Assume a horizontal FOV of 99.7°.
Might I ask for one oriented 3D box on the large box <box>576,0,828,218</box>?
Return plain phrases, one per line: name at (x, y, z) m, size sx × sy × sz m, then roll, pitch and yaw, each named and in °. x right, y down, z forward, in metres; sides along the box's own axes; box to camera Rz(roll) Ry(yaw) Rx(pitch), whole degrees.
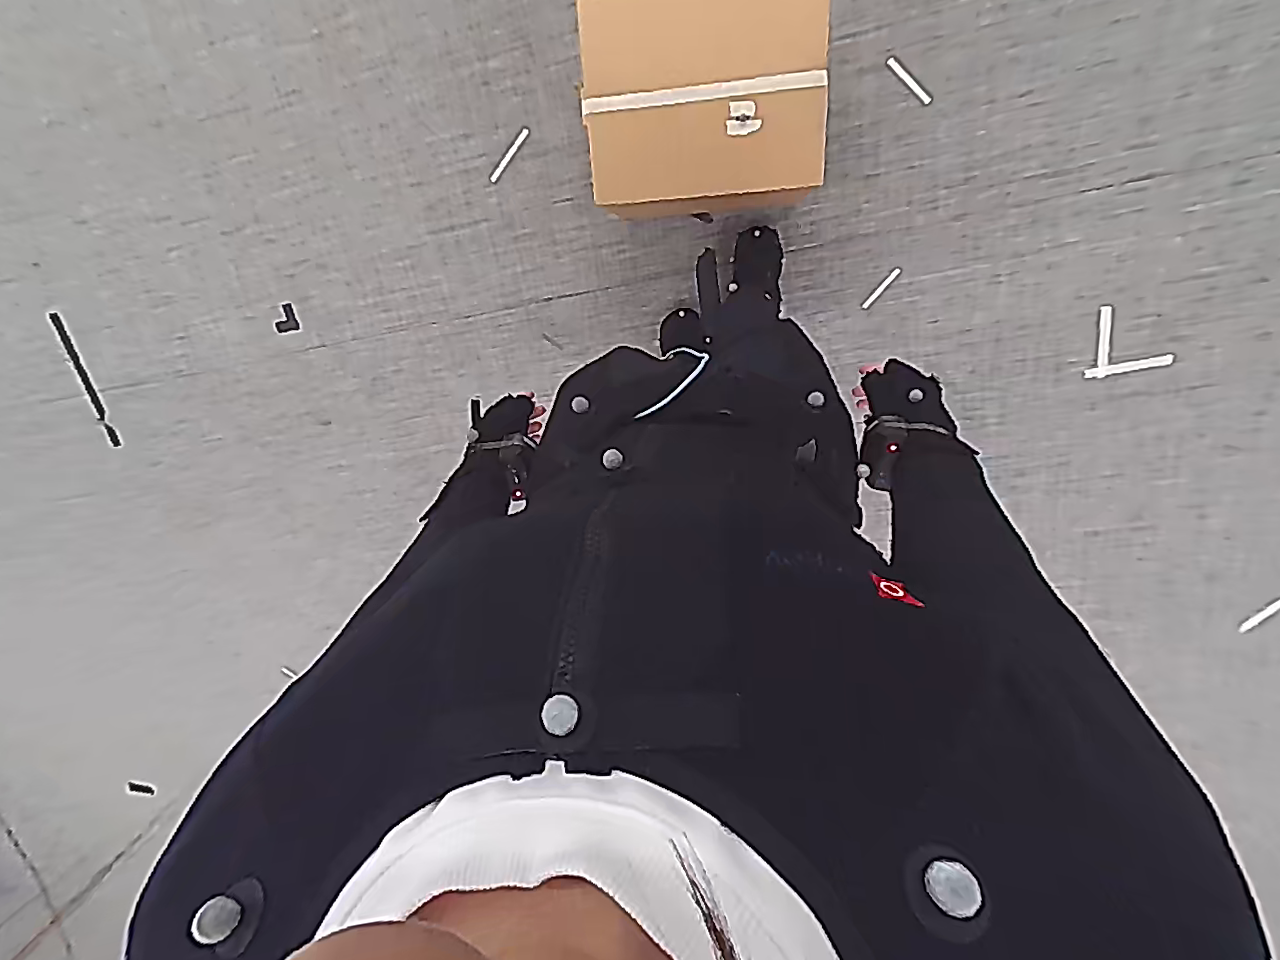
large box at (0.118, -0.704, 1.039) m, size 0.408 × 0.320 × 0.320 m, roll -1°, pitch 112°, yaw 7°
